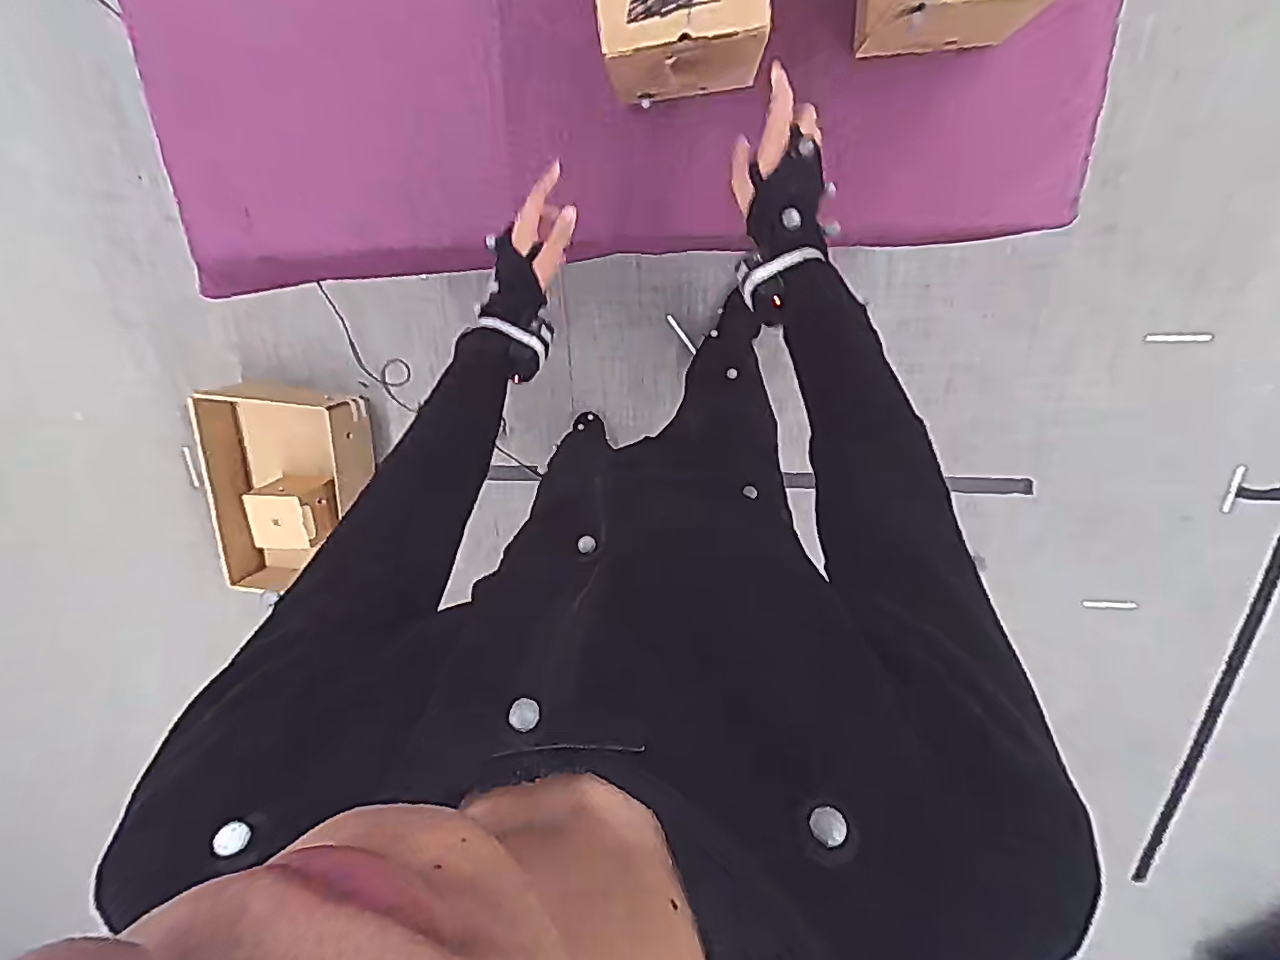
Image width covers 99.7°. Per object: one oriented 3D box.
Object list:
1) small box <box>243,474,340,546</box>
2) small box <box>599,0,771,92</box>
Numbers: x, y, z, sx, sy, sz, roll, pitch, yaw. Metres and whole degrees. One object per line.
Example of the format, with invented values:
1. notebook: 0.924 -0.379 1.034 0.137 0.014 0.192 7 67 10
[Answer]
1. small box: -1.030 0.085 1.619 0.179 0.176 0.168 1 109 4
2. small box: 0.044 -0.538 0.569 0.168 0.176 0.179 -4 109 6
